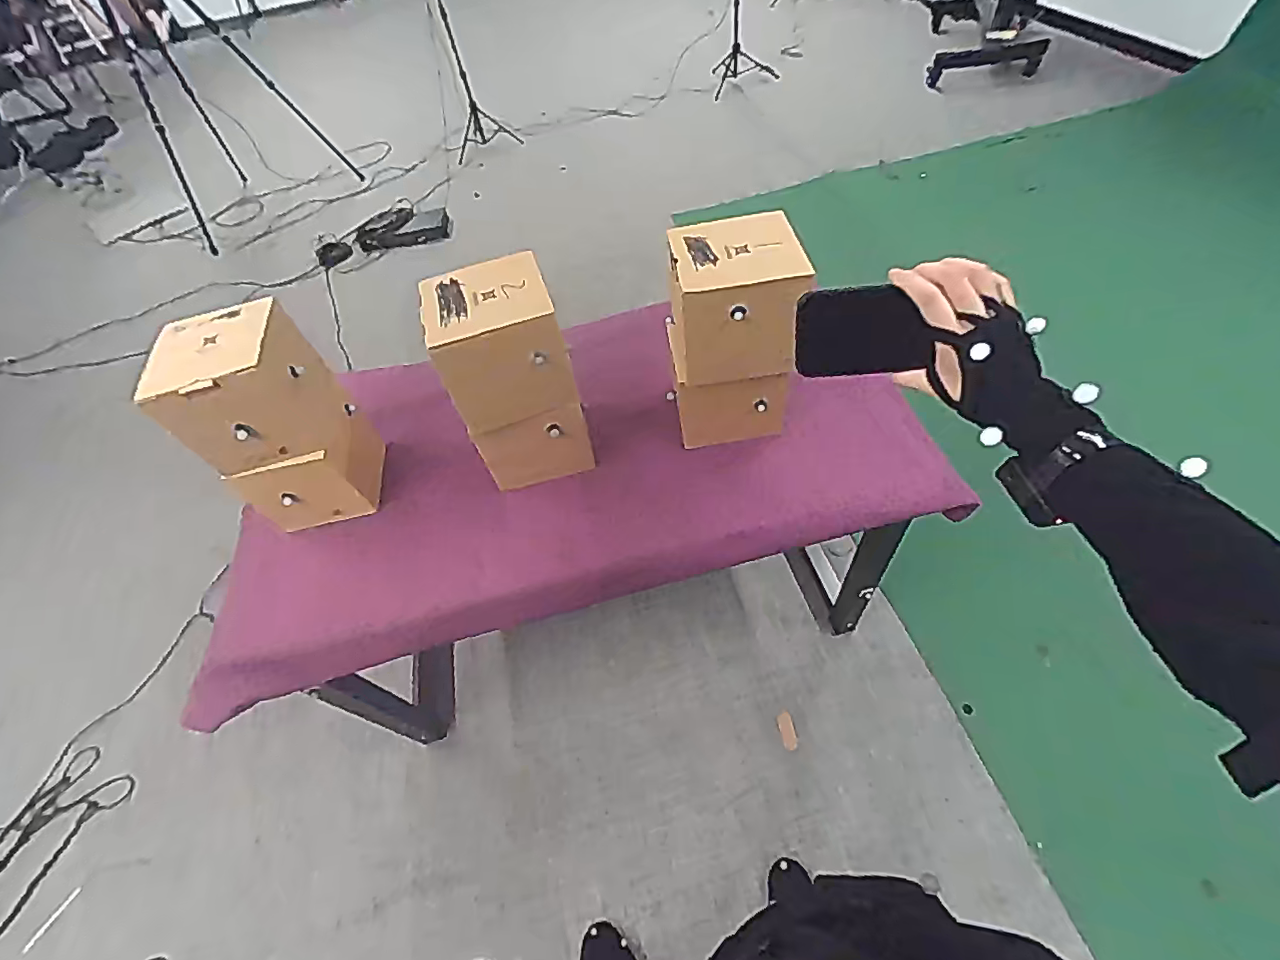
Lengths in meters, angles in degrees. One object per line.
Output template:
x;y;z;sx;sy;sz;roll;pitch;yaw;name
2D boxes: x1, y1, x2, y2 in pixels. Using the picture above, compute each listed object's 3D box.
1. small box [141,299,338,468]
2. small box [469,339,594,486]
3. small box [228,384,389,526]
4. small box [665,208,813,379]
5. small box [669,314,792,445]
-0.590;-0.138;0.825;0.168;0.176;0.179;-17;54;-4;small box
-0.183;-0.113;0.943;0.179;0.176;0.168;-14;53;-1;small box
-0.566;-0.035;0.951;0.168;0.176;0.179;-13;53;0;small box
0.140;-0.269;0.801;0.179;0.176;0.168;-9;53;2;small box
0.151;-0.182;0.941;0.179;0.176;0.168;-9;53;4;small box
